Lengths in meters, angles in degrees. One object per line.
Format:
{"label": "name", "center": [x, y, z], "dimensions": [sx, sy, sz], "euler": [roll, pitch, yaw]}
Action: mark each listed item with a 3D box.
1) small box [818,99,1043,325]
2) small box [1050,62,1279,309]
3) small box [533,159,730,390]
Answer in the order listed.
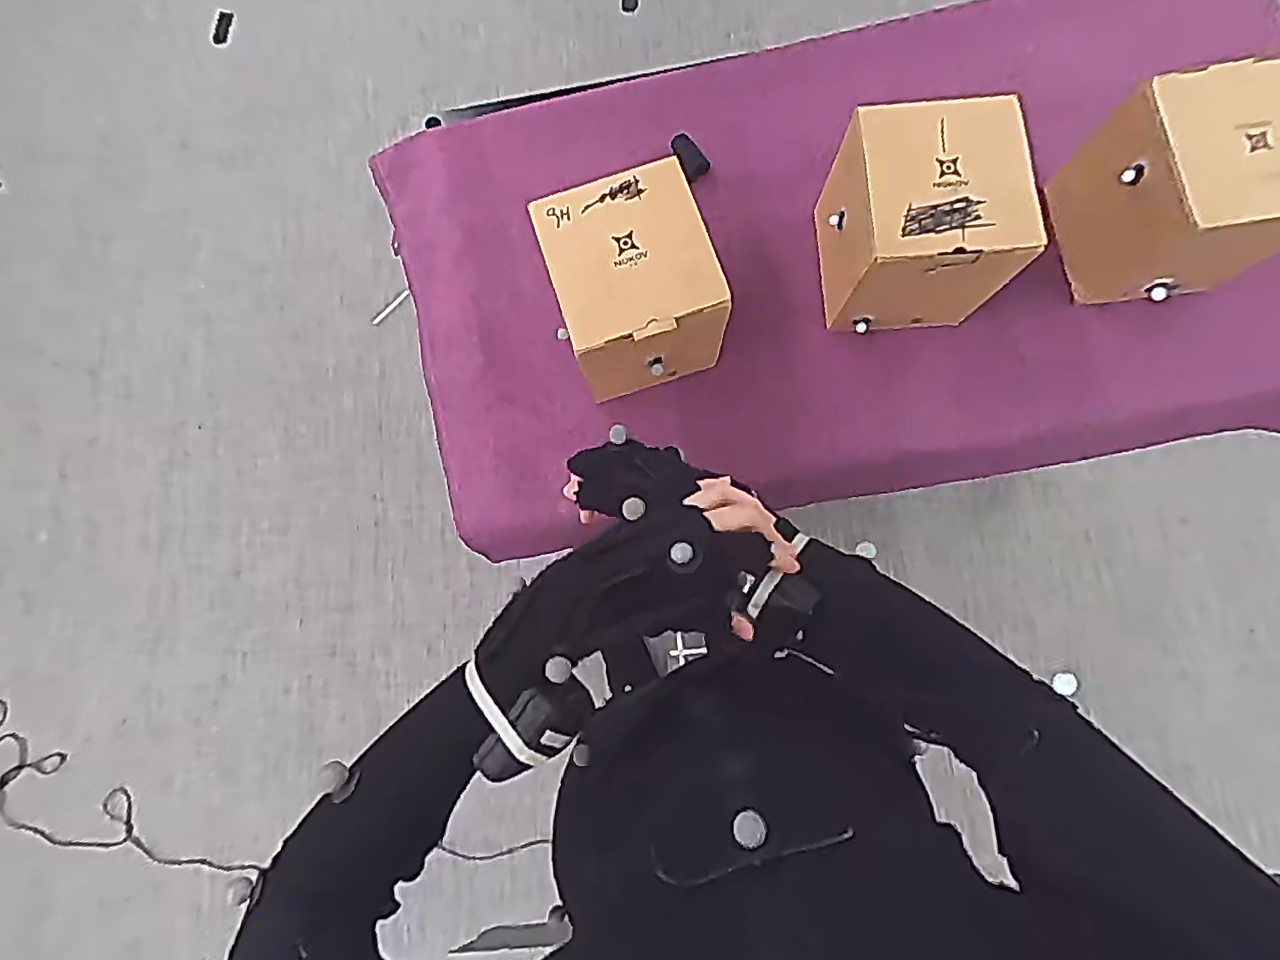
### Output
{"label": "small box", "center": [0.316, -0.292, 0.626], "dimensions": [0.168, 0.176, 0.179], "euler": [-2, 79, 2]}
{"label": "small box", "center": [0.616, -0.322, 0.617], "dimensions": [0.168, 0.176, 0.179], "euler": [-7, 80, 3]}
{"label": "small box", "center": [-0.006, -0.219, 0.629], "dimensions": [0.168, 0.176, 0.179], "euler": [-18, 80, -1]}
